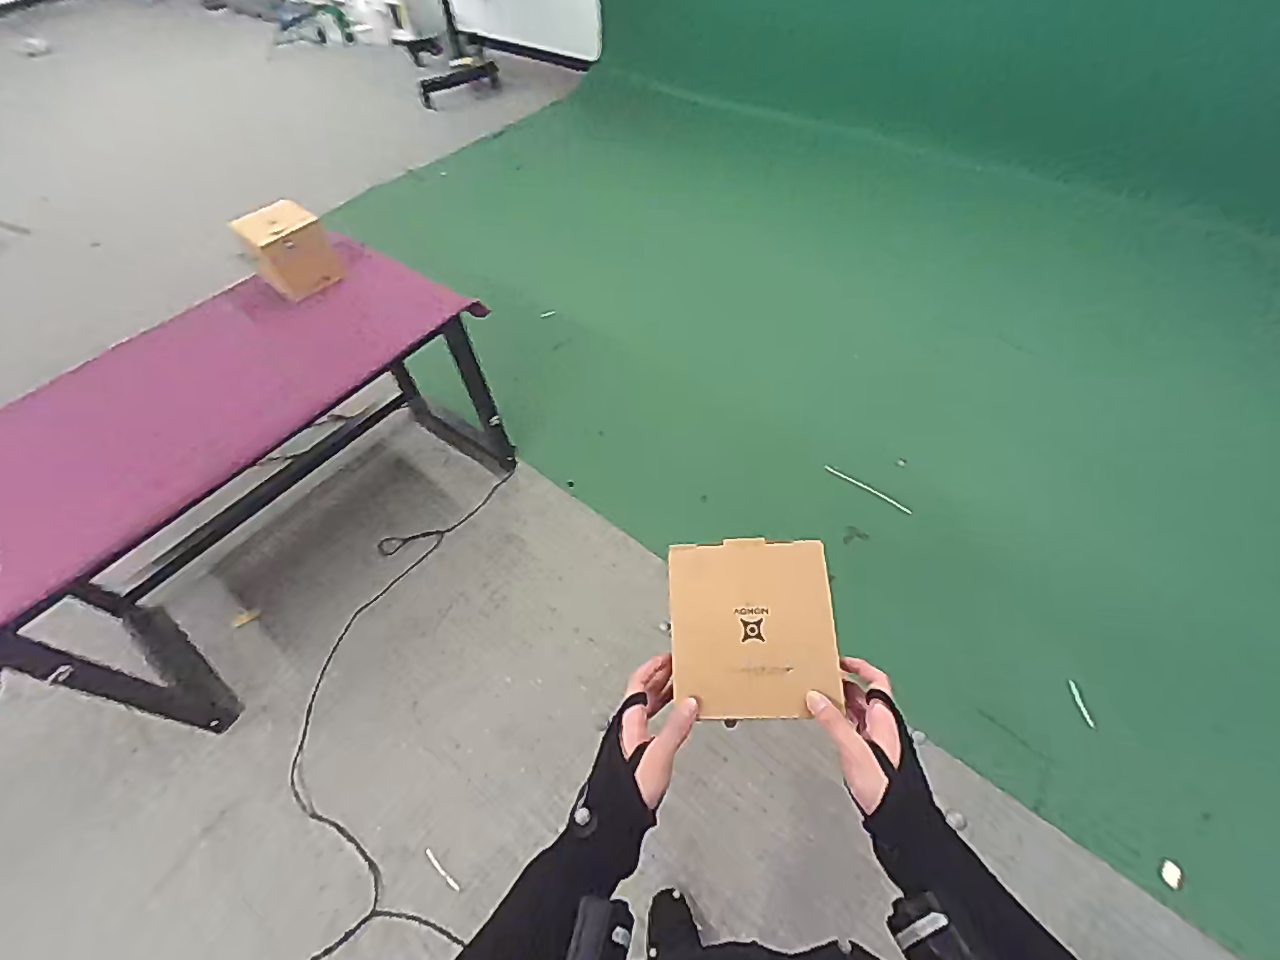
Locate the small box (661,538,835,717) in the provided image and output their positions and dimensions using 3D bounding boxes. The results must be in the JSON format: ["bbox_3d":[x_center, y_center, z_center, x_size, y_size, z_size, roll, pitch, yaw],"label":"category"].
[{"bbox_3d":[0.107,0.172,0.617,0.168,0.176,0.179,-1,69,3],"label":"small box"}]

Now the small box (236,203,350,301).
[{"bbox_3d":[-0.937,-0.618,1.473,0.179,0.176,0.168,34,63,25],"label":"small box"}]
